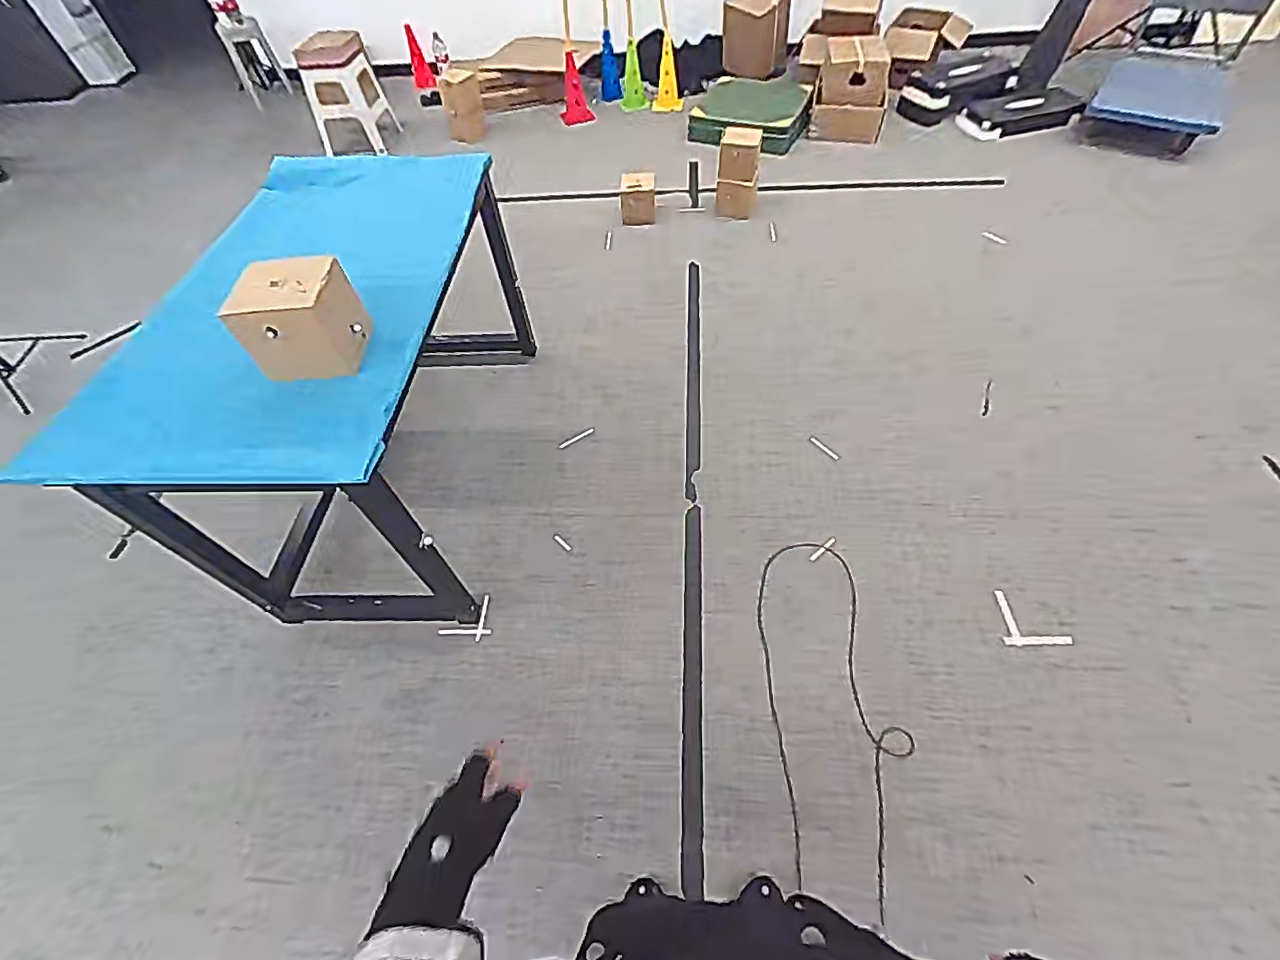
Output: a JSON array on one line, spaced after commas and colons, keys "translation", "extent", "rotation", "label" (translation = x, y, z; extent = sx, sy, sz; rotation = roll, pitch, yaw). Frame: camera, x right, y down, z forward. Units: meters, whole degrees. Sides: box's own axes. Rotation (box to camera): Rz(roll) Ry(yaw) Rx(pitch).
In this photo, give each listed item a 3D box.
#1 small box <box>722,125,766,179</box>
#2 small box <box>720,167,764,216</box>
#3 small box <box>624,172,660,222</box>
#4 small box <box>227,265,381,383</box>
[{"translation": [0.495, -1.566, 2.583], "extent": [0.179, 0.176, 0.168], "rotation": [12, 57, 12], "label": "small box"}, {"translation": [0.506, -1.448, 2.701], "extent": [0.179, 0.176, 0.168], "rotation": [14, 56, 12], "label": "small box"}, {"translation": [0.013, -1.417, 2.716], "extent": [0.168, 0.176, 0.179], "rotation": [-1, 53, 4], "label": "small box"}, {"translation": [-0.659, -0.308, 1.084], "extent": [0.179, 0.176, 0.168], "rotation": [-1, 55, 2], "label": "small box"}]
